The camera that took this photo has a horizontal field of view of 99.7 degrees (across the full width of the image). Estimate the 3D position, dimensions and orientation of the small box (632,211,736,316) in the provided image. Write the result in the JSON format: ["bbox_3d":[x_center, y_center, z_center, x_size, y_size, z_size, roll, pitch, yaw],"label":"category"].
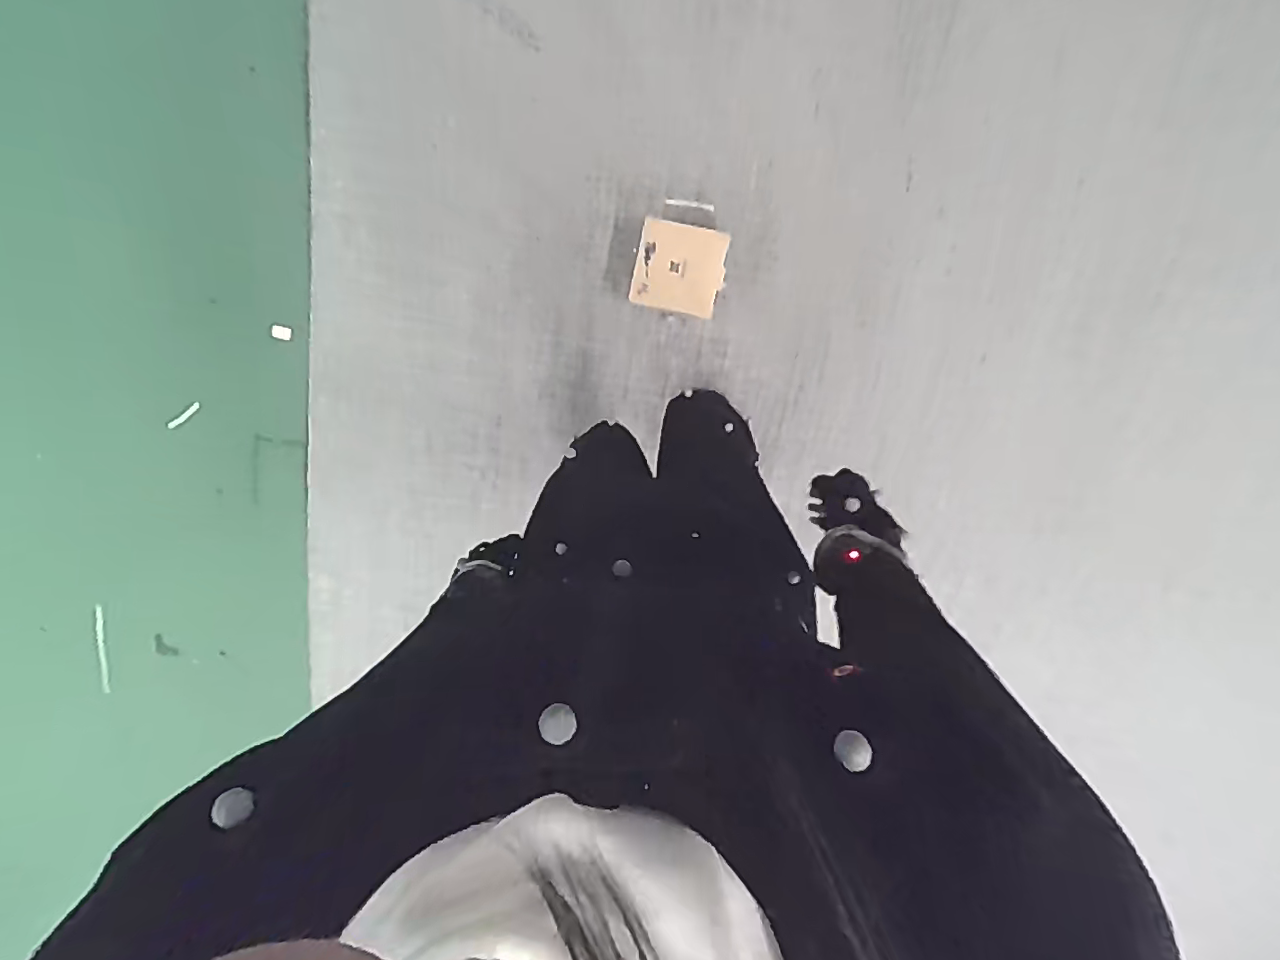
[{"bbox_3d":[0.093,-0.455,1.159,0.179,0.176,0.168,15,106,2],"label":"small box"}]
